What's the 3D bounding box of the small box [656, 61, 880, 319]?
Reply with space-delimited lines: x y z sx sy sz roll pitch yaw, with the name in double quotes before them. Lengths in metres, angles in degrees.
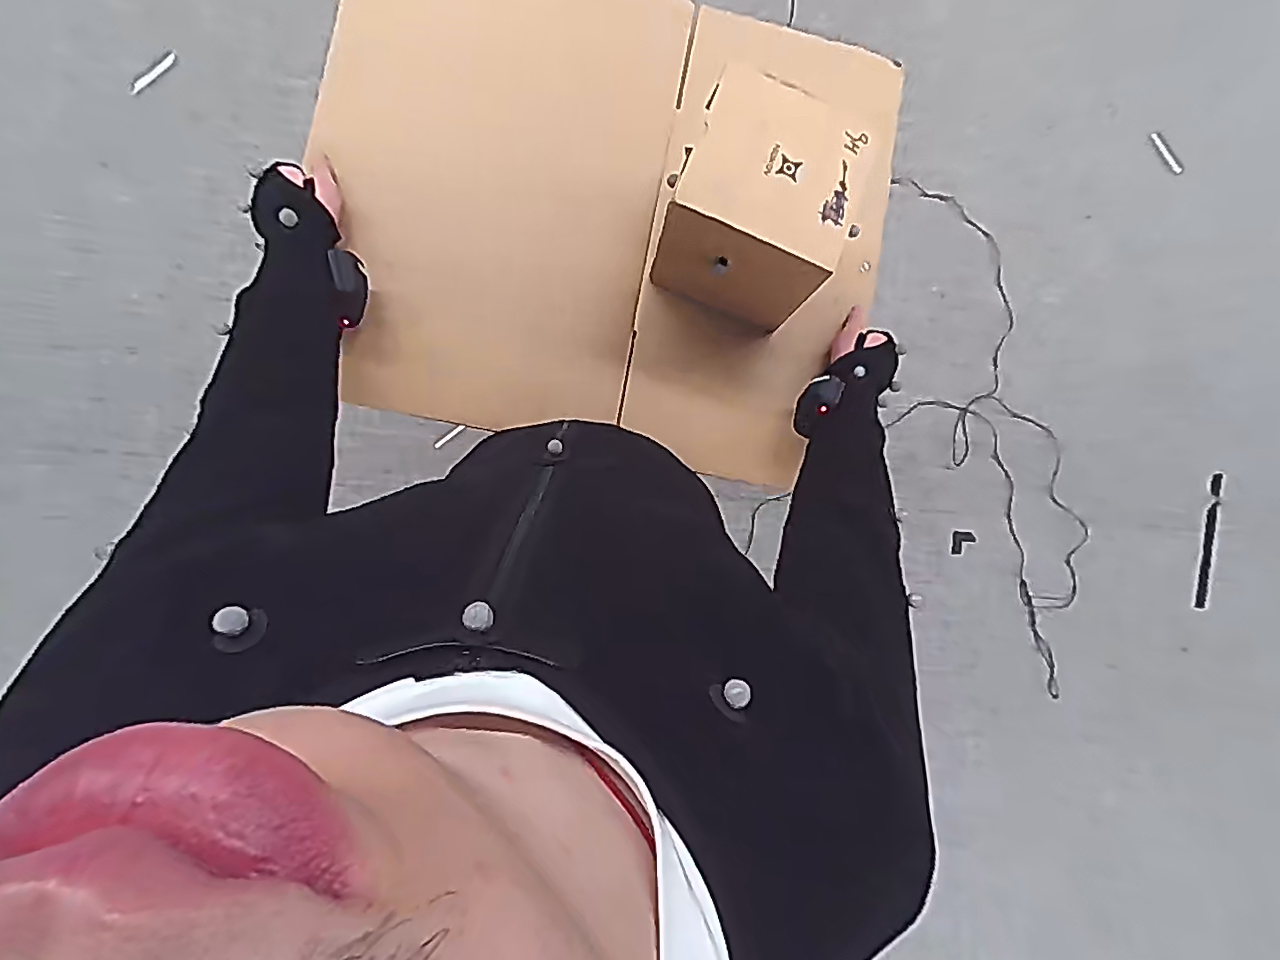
"small box" 0.129 -0.308 0.614 0.179 0.176 0.168 22 84 -3
